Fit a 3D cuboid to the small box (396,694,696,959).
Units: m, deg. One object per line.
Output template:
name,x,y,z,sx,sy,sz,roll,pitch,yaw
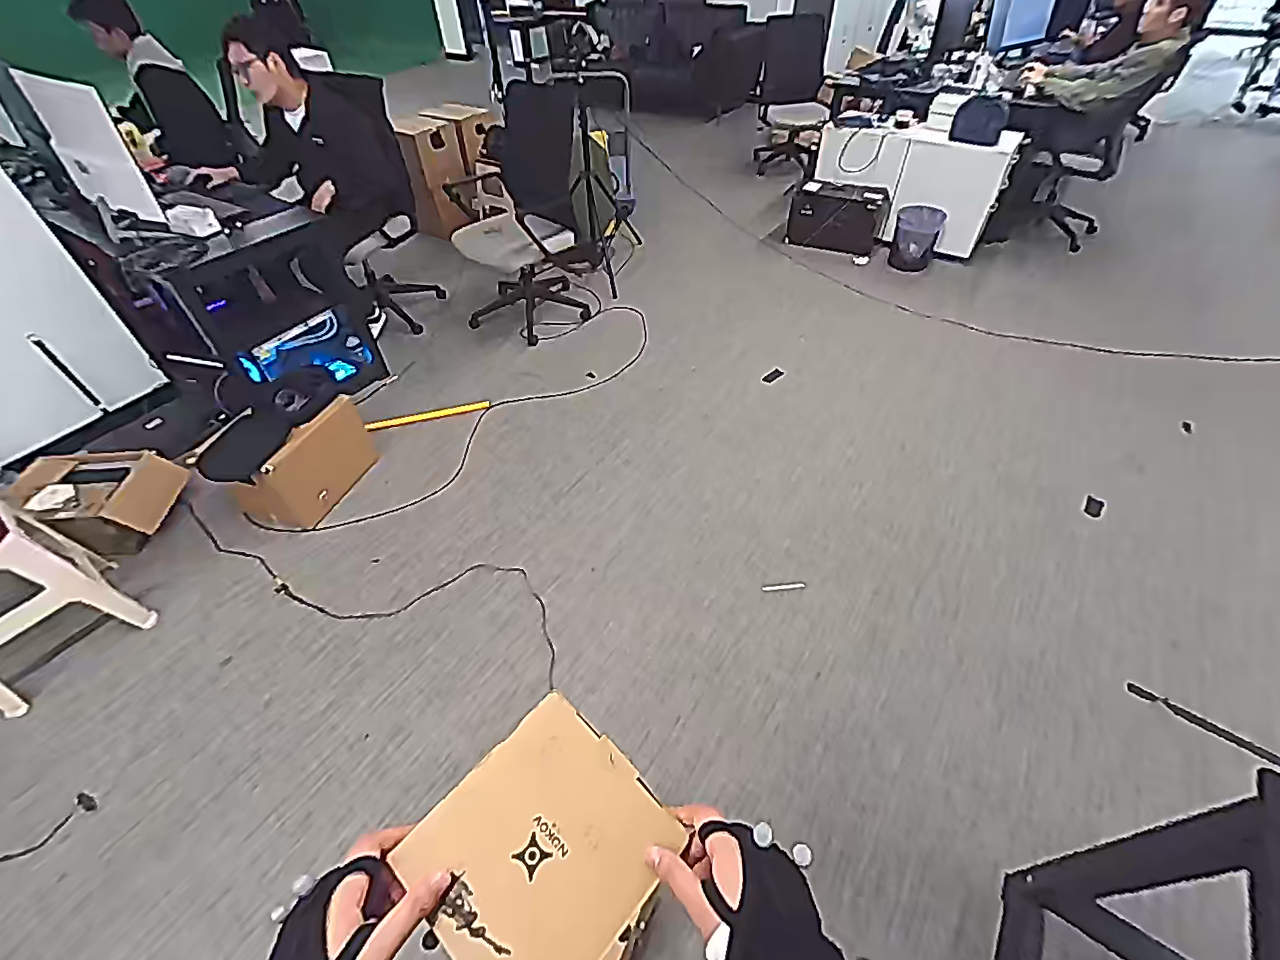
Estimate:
small box,-0.075,0.333,0.485,0.168,0.176,0.179,37,61,21
